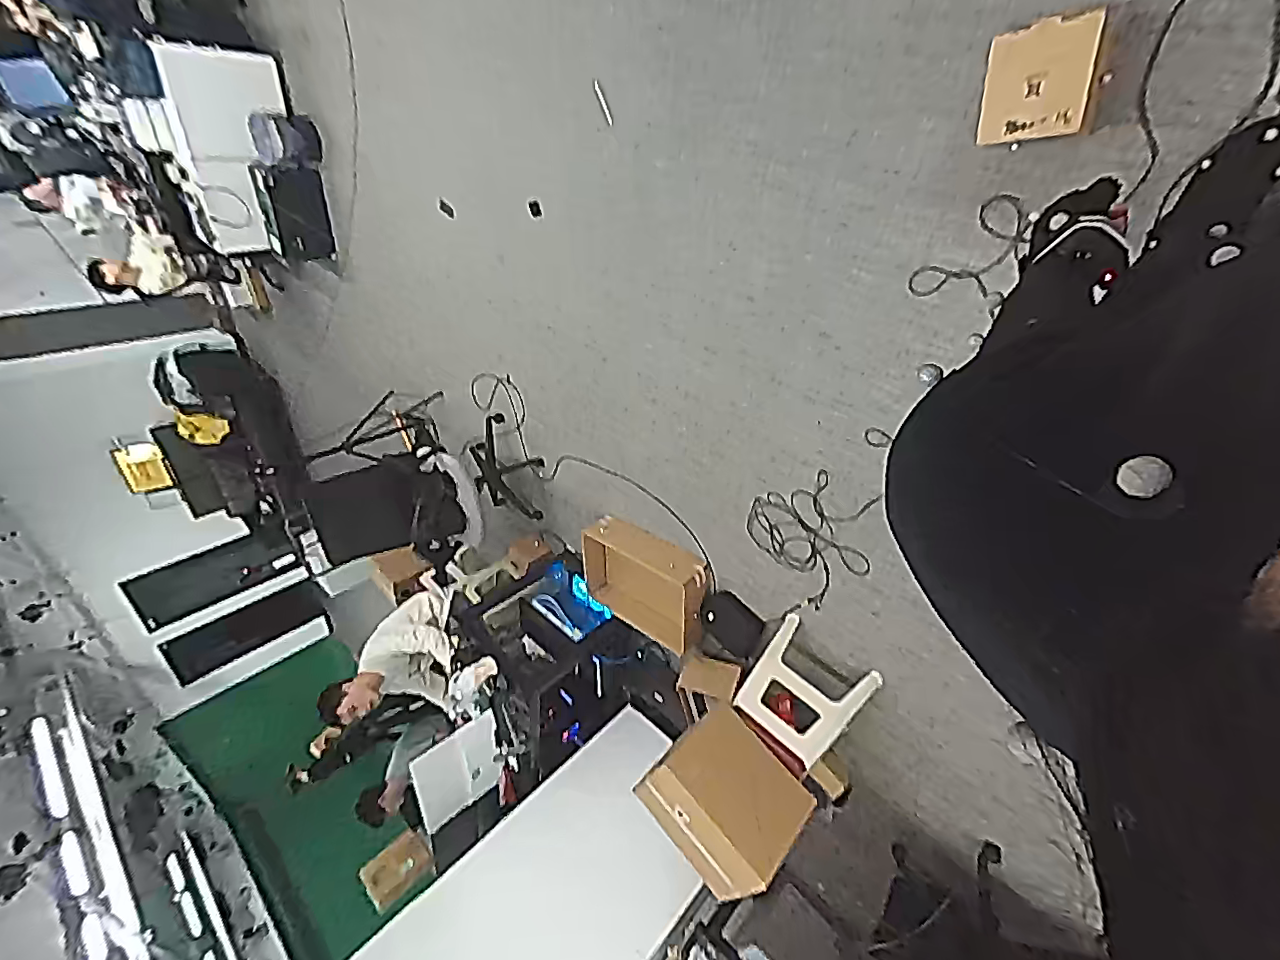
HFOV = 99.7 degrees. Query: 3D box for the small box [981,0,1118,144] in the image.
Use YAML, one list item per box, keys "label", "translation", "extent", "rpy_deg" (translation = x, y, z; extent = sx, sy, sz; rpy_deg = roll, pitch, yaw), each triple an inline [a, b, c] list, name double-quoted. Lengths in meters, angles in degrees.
- label: "small box"
  translation: [0.763, -0.745, 1.008]
  extent: [0.168, 0.176, 0.179]
  rpy_deg: [17, 123, 39]
